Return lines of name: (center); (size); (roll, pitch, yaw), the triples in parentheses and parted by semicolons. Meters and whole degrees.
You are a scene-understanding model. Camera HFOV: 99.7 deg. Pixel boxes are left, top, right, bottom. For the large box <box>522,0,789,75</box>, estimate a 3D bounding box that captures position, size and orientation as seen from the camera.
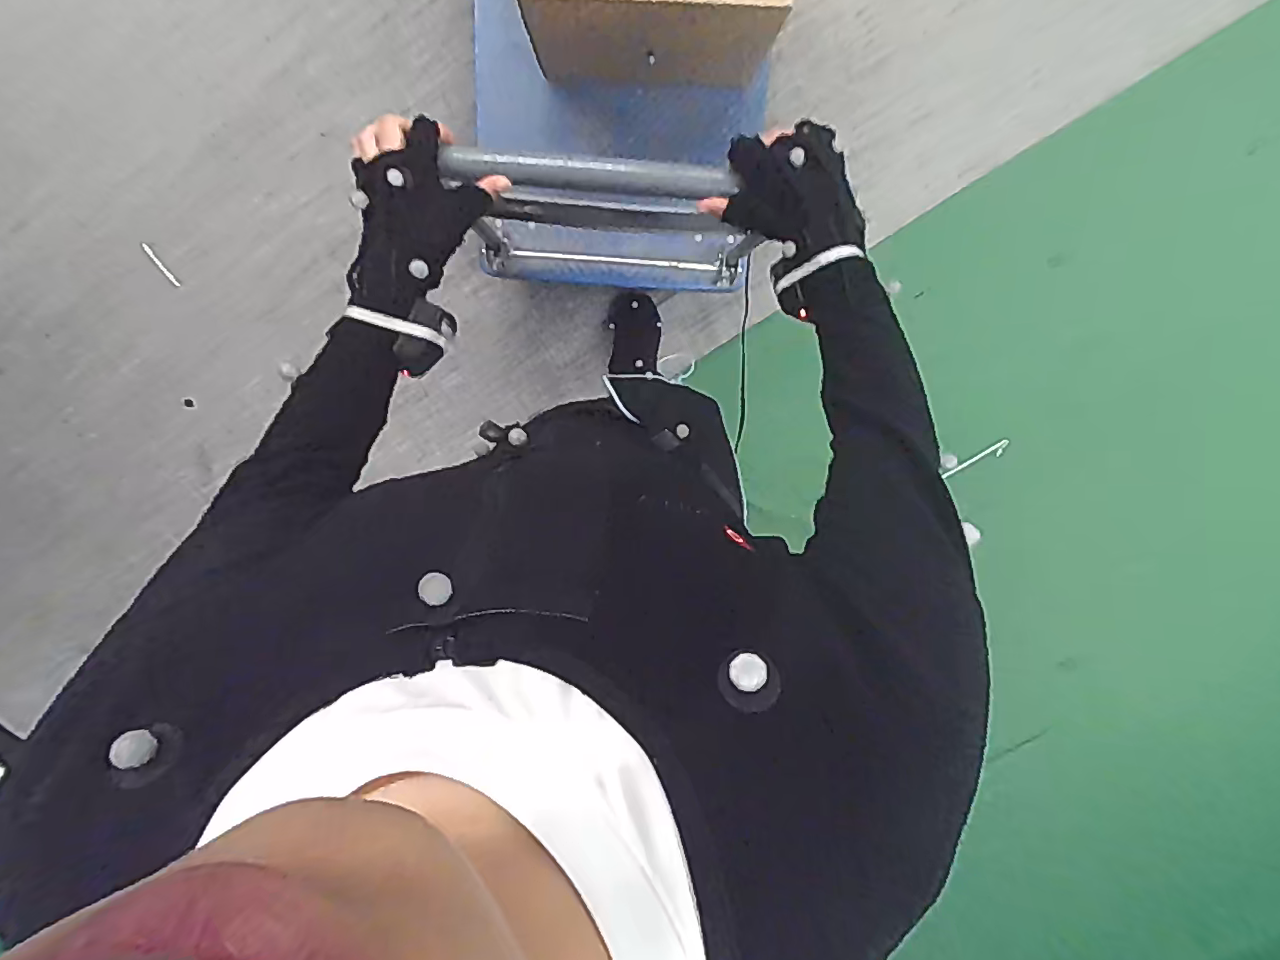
large box: (0.025, -0.890, 0.868); (0.408, 0.320, 0.320); (1, 108, -1)
